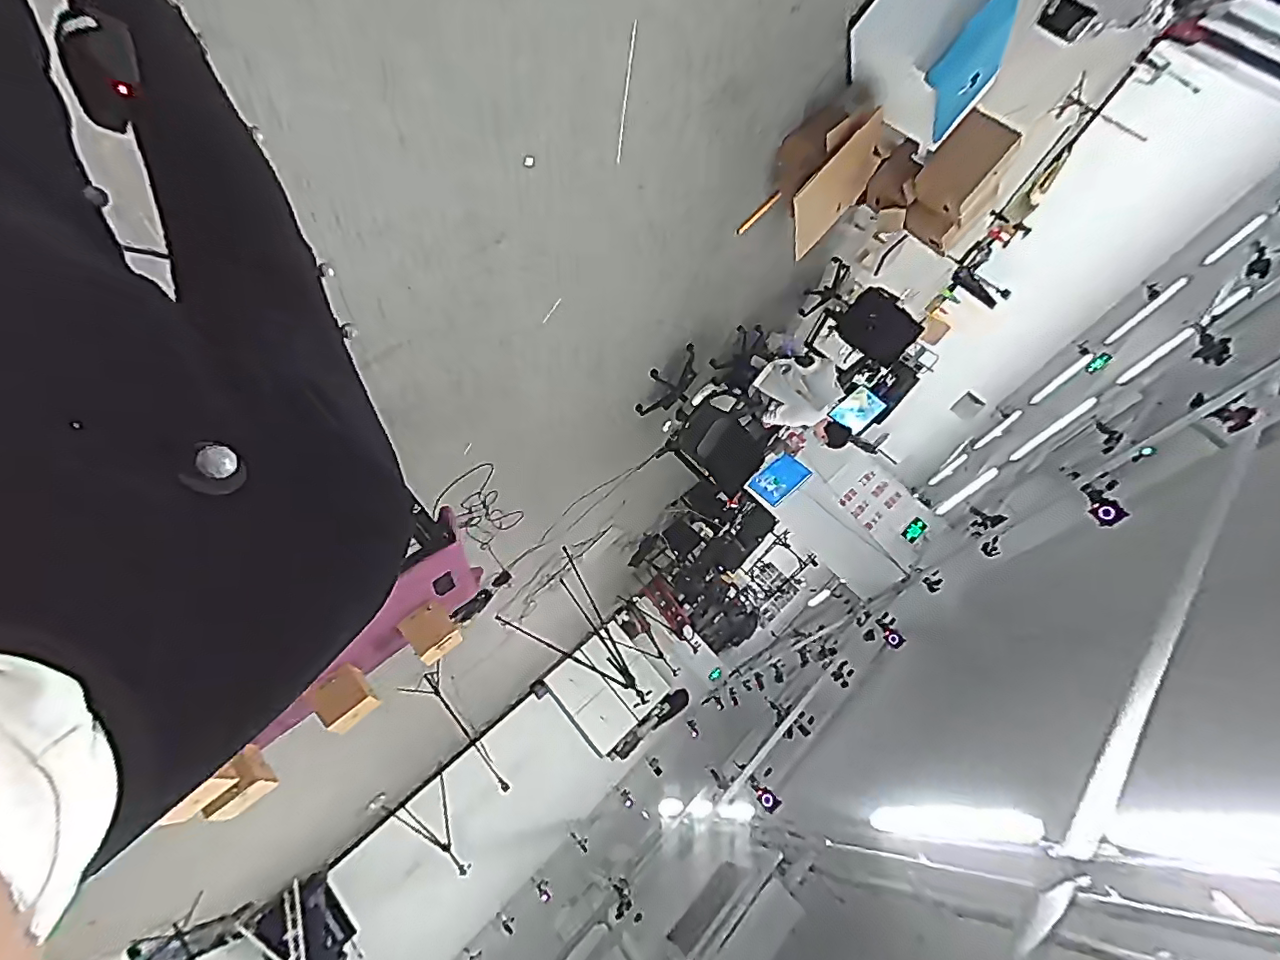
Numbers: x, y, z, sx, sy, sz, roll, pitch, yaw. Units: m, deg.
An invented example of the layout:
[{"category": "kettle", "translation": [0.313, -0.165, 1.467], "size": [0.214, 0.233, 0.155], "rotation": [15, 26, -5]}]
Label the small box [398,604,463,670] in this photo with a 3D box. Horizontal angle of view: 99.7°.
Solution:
[{"category": "small box", "translation": [-0.824, 0.616, 2.133], "size": [0.168, 0.176, 0.179], "rotation": [-36, 162, -26]}]

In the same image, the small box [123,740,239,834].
[{"category": "small box", "translation": [-1.318, 0.878, 1.558], "size": [0.168, 0.176, 0.179], "rotation": [-38, 162, -26]}]

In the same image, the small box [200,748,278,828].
[{"category": "small box", "translation": [-1.371, 1.032, 1.821], "size": [0.168, 0.176, 0.179], "rotation": [-37, 162, -28]}]

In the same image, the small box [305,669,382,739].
[{"category": "small box", "translation": [-1.092, 0.824, 1.996], "size": [0.168, 0.176, 0.179], "rotation": [-38, 162, -26]}]
